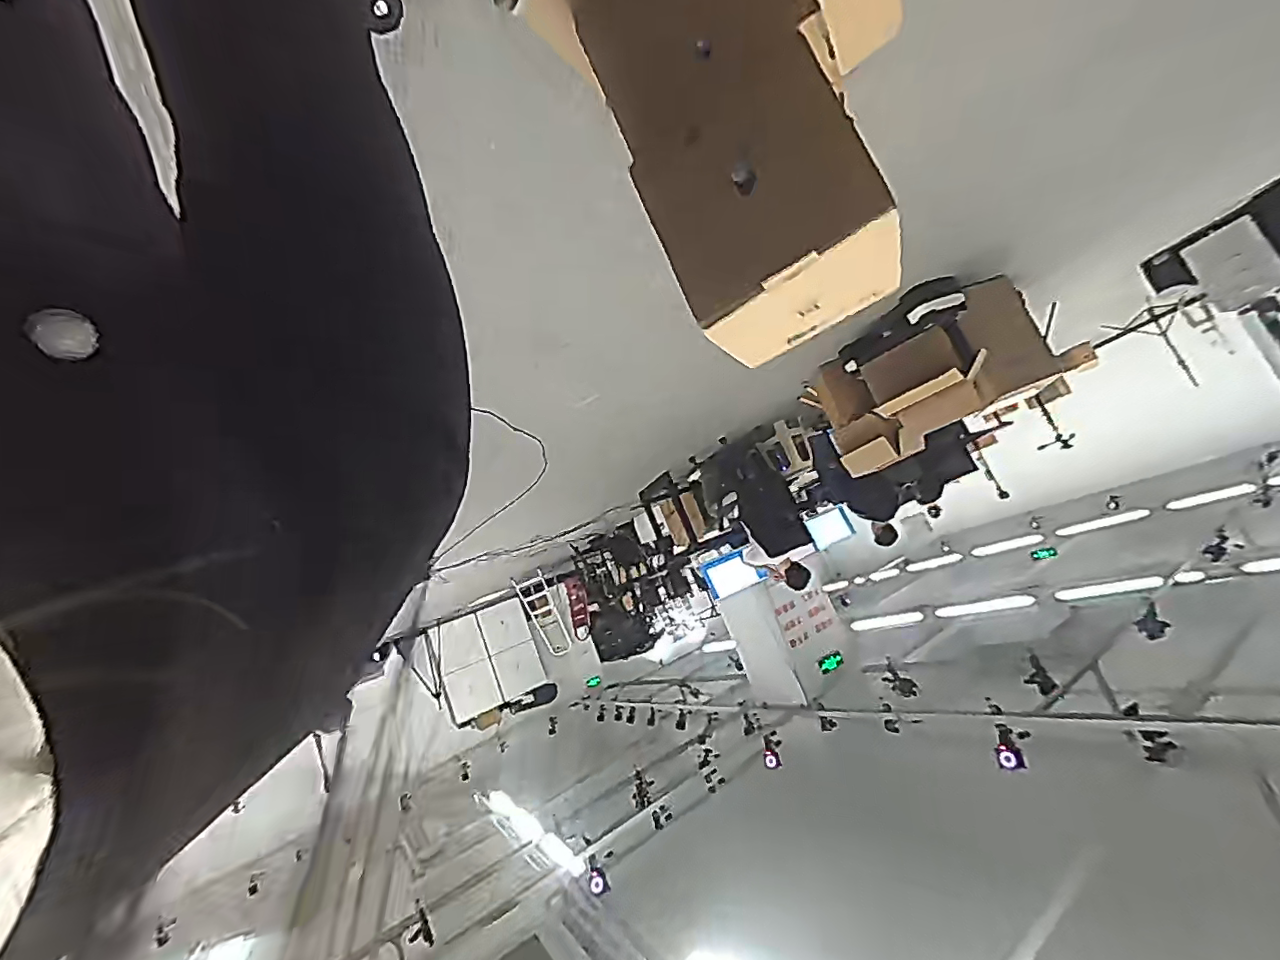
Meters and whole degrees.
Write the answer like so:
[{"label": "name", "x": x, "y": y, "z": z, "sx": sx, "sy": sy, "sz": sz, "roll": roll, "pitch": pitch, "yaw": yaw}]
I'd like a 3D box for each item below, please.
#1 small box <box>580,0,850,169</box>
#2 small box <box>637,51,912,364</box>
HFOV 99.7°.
[{"label": "small box", "x": 0.073, "y": -0.387, "z": 0.516, "sx": 0.179, "sy": 0.176, "sz": 0.168, "roll": -27, "pitch": 168, "yaw": 27}, {"label": "small box", "x": 0.124, "y": -0.234, "z": 0.495, "sx": 0.168, "sy": 0.176, "sz": 0.179, "roll": -30, "pitch": 167, "yaw": 26}]
